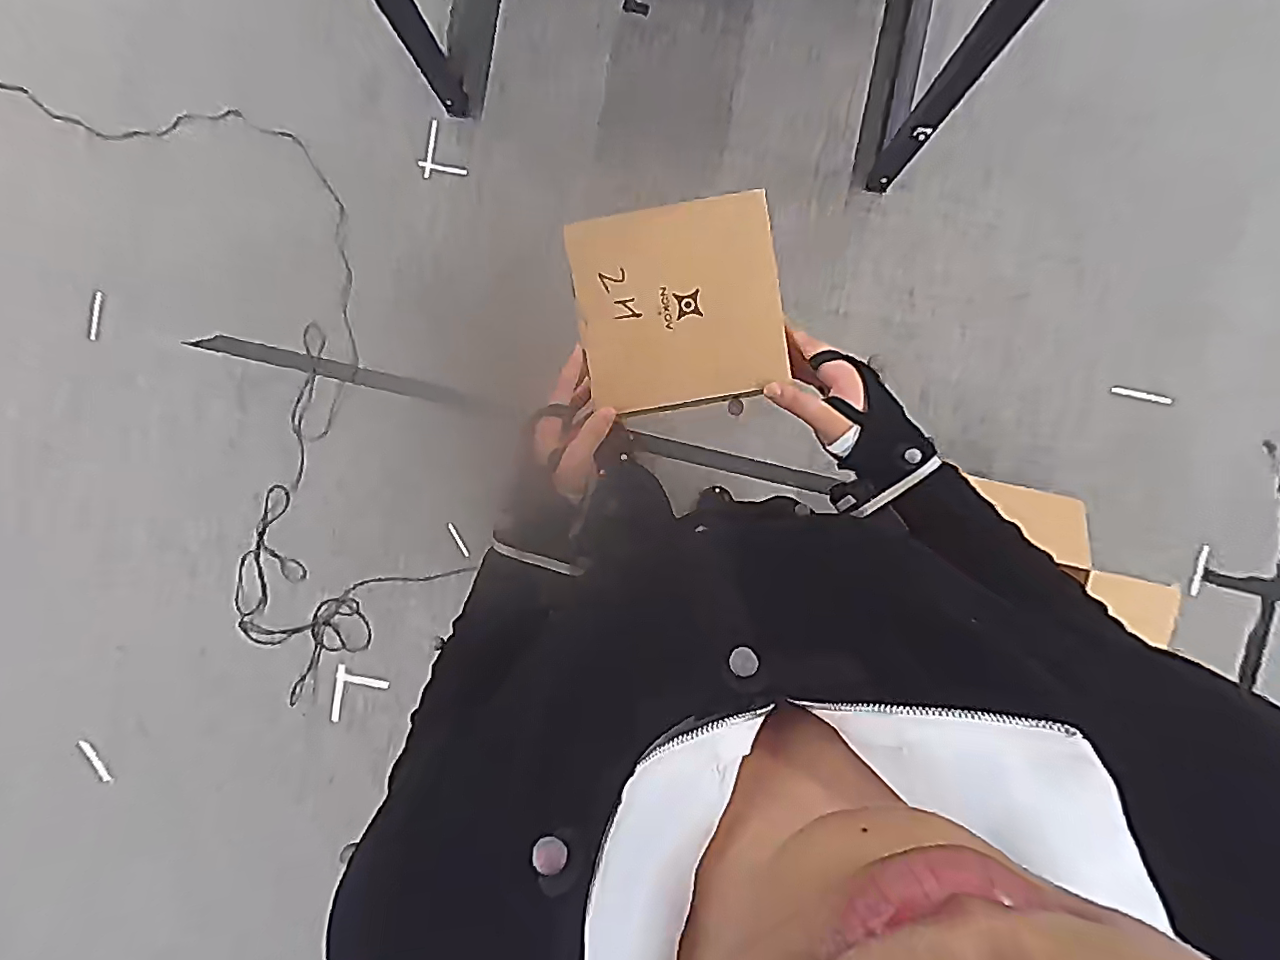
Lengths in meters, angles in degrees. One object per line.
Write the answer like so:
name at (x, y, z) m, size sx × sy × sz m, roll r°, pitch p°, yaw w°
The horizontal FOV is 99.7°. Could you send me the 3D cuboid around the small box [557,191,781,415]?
small box at (0.026, -0.161, 0.547) m, size 0.179 × 0.176 × 0.168 m, roll -10°, pitch 95°, yaw 2°
